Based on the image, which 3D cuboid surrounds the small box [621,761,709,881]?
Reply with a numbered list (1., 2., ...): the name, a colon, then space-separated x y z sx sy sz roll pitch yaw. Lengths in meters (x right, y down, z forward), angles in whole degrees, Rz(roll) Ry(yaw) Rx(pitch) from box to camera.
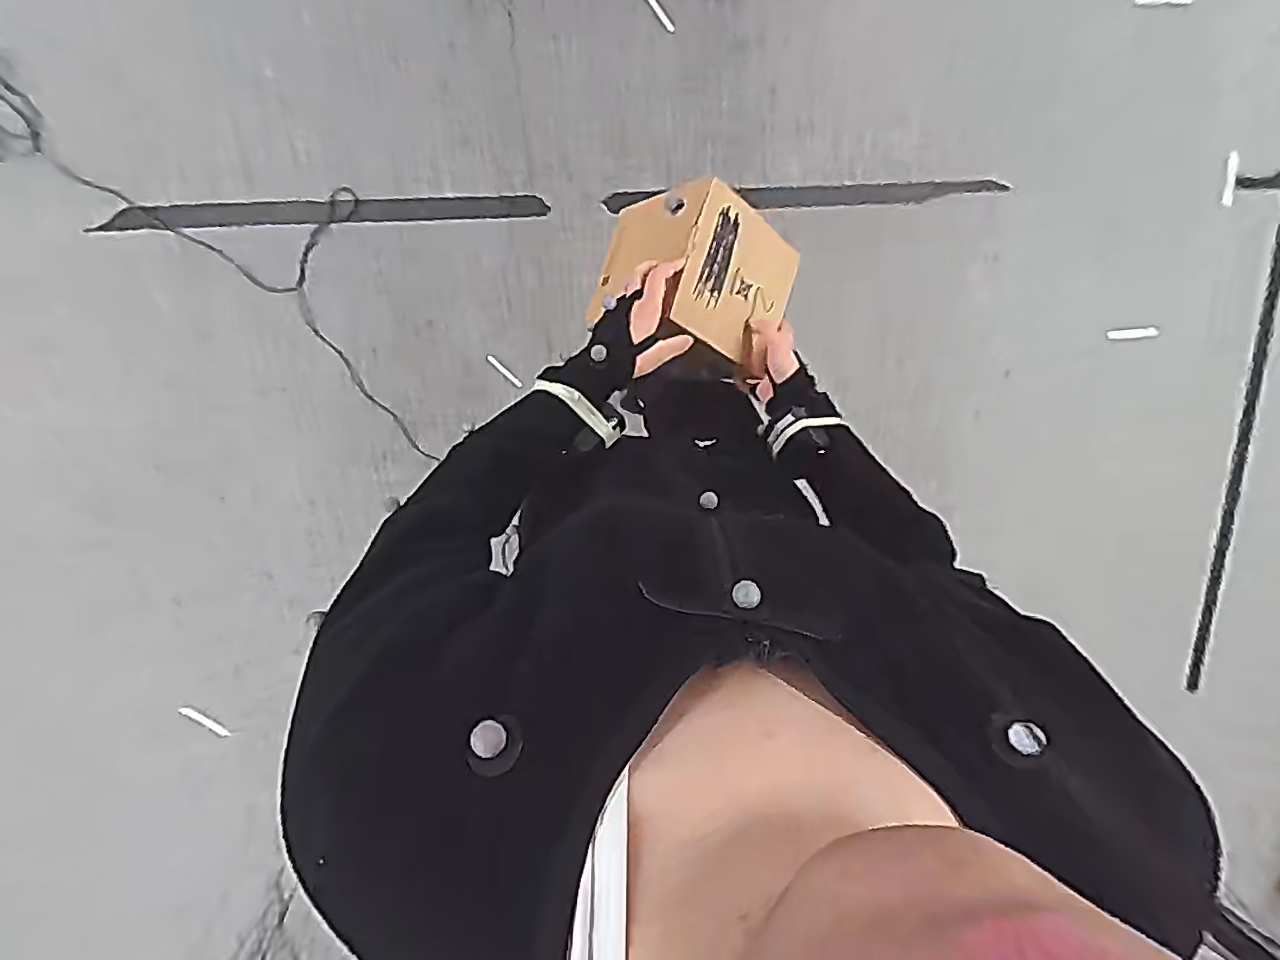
1. small box: 0.056 0.823 1.321 0.179 0.176 0.168 -11 104 -4
